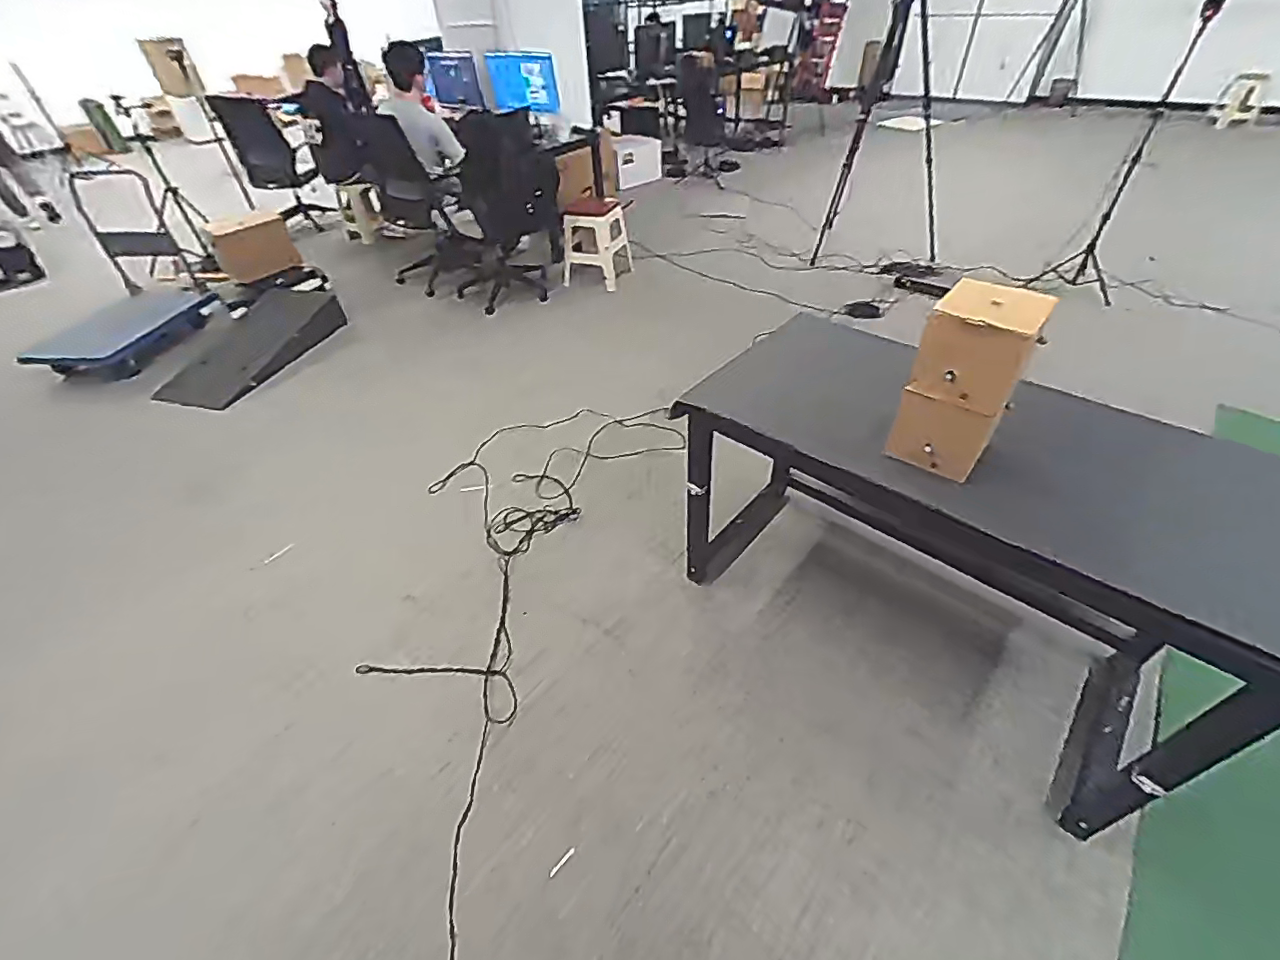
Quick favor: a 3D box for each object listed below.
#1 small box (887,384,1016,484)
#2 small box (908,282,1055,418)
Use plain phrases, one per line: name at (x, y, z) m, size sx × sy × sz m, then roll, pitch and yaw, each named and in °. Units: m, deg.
small box at (0.638, -0.125, 1.123) m, size 0.168 × 0.176 × 0.179 m, roll 28°, pitch 50°, yaw 31°
small box at (0.631, -0.246, 1.015) m, size 0.168 × 0.176 × 0.179 m, roll 28°, pitch 50°, yaw 30°
